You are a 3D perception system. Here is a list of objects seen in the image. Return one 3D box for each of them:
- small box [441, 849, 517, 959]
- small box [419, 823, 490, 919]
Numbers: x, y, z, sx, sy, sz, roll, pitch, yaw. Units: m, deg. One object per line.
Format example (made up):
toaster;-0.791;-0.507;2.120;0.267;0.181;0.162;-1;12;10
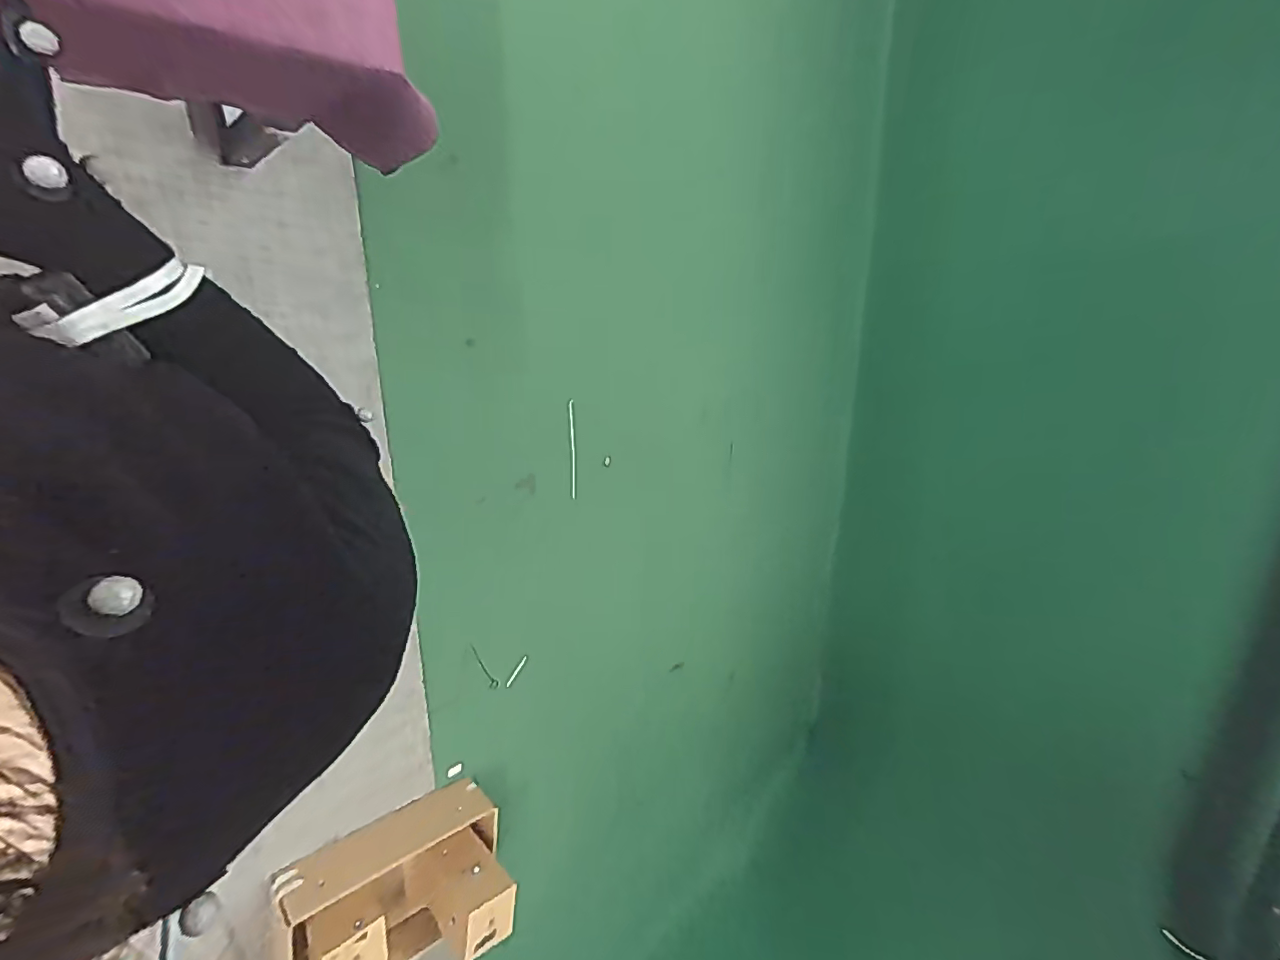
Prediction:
small box;-0.507;1.317;1.693;0.168;0.176;0.179;-1;100;-47
small box;-0.623;1.289;1.806;0.168;0.176;0.179;-3;103;-46
